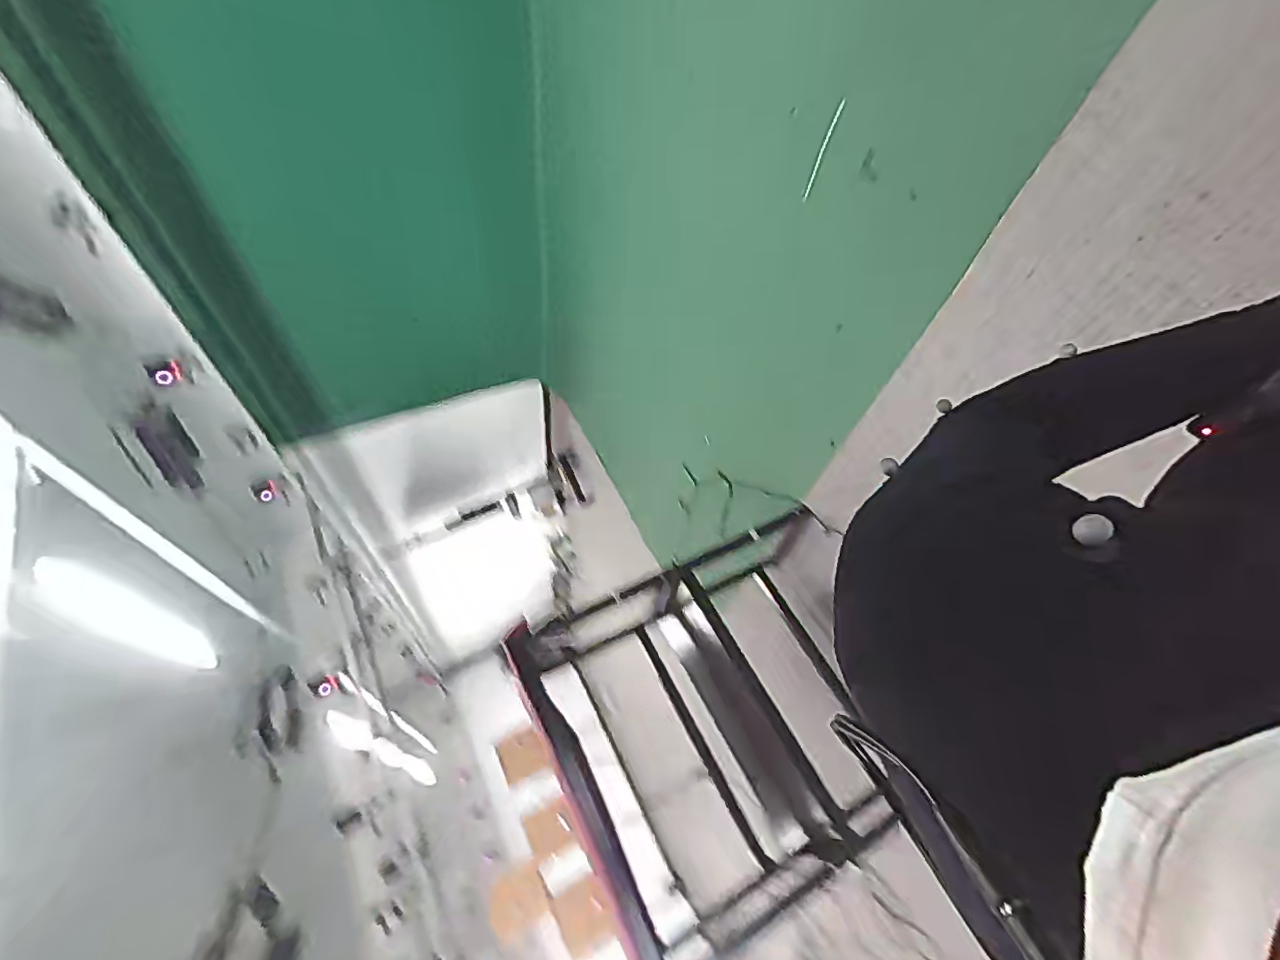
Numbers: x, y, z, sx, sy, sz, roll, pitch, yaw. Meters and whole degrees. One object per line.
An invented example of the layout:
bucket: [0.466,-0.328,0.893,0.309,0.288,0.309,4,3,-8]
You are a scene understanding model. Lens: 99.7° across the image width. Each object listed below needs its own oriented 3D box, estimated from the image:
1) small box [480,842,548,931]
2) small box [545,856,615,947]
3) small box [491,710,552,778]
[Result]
small box: [-0.399,1.300,1.742,0.168,0.176,0.179,59,158,25]
small box: [-0.197,1.346,1.741,0.179,0.176,0.168,60,158,27]
small box: [-0.429,0.962,1.972,0.168,0.176,0.179,61,160,23]
